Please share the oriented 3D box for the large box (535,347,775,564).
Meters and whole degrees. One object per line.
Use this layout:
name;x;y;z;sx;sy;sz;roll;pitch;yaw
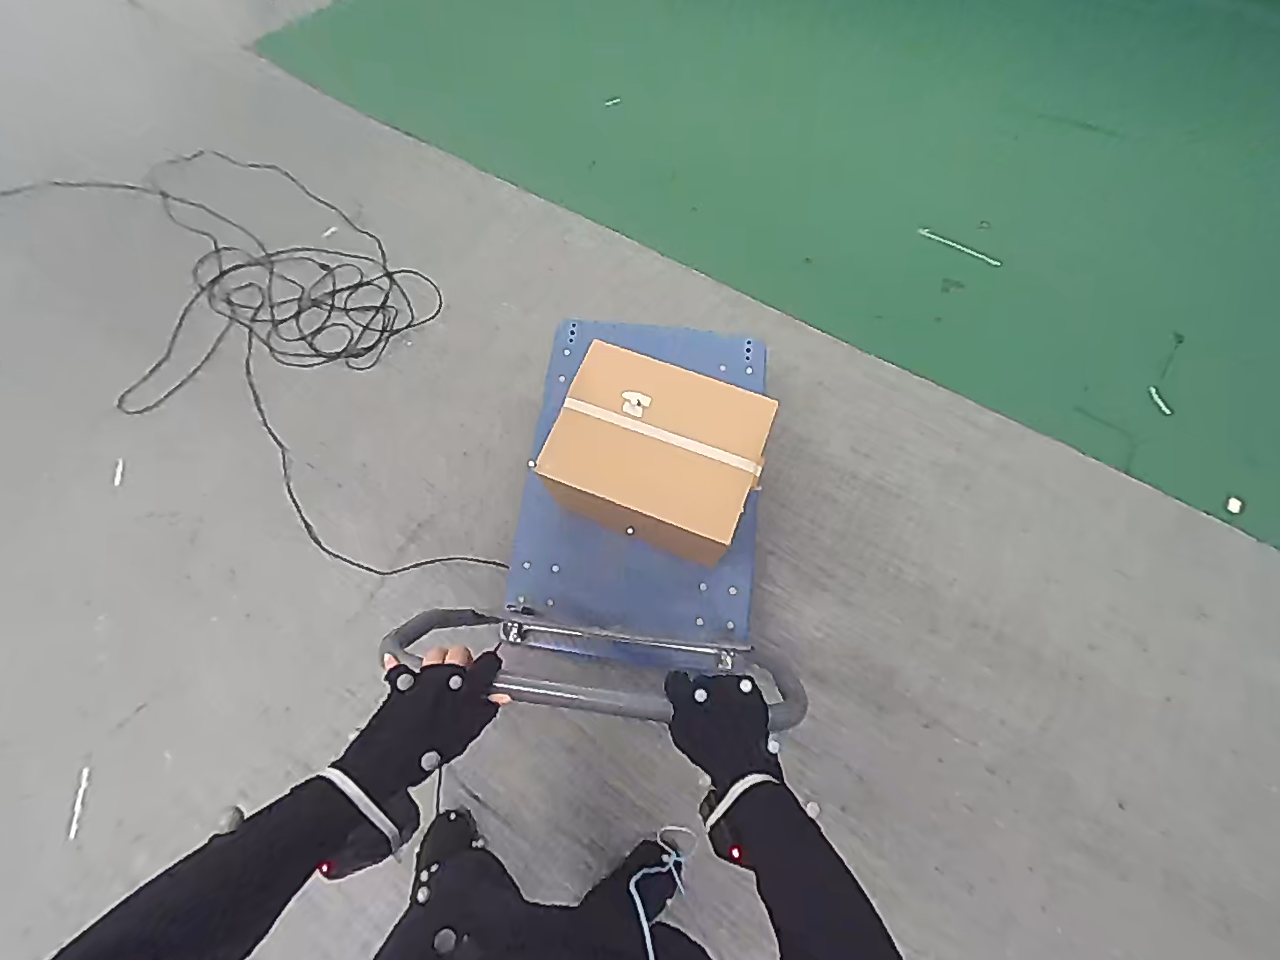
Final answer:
large box;0.041;-0.036;1.202;0.408;0.320;0.320;20;75;8
